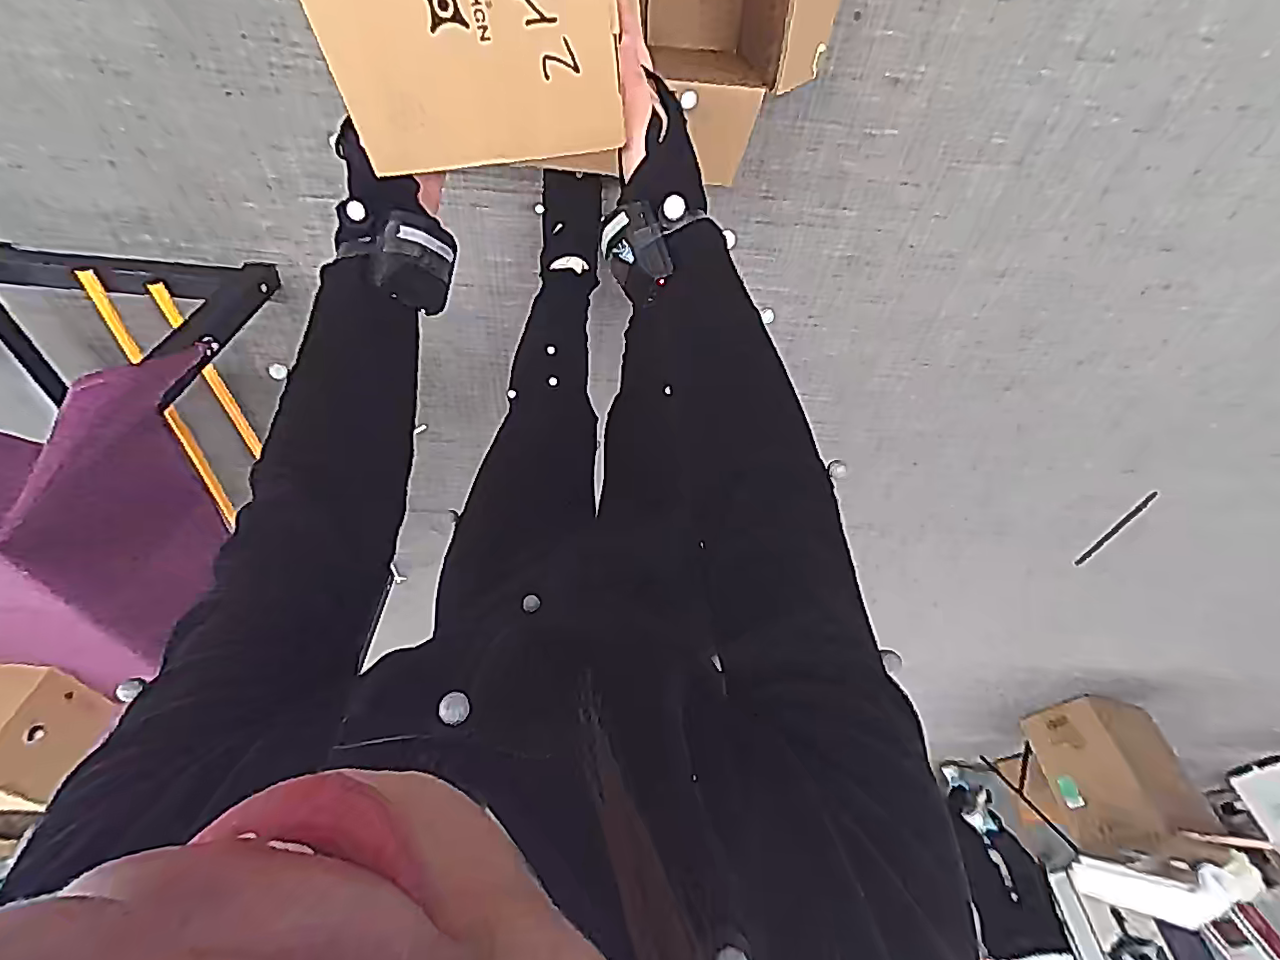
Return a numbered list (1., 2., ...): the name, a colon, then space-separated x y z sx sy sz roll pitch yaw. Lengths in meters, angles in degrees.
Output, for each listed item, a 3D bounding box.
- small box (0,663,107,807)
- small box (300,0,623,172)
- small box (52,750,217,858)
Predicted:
1. small box: -1.005 0.396 0.845 0.179 0.176 0.168 3 136 -3
2. small box: -0.106 -0.329 0.354 0.179 0.176 0.168 -6 141 2
3. small box: -1.049 0.687 1.149 0.179 0.176 0.168 6 136 -6
